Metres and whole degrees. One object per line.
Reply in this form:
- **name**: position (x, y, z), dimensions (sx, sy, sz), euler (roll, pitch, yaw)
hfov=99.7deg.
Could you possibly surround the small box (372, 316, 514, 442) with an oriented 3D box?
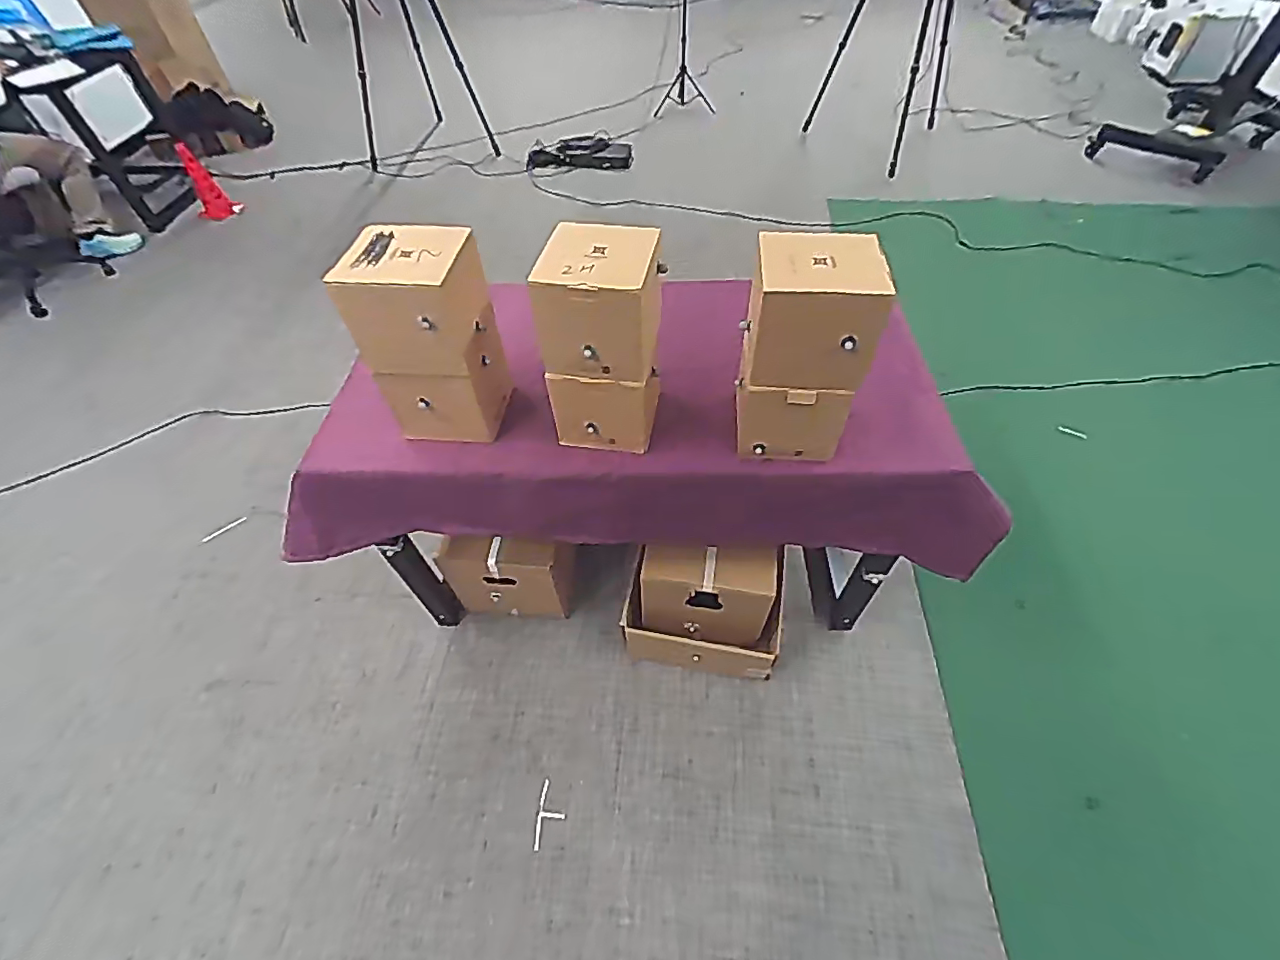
- **small box**: position (-0.353, -0.185, 1.005), dimensions (0.179, 0.176, 0.168), euler (2, 53, 5)

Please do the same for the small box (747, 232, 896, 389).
- **small box**: position (0.261, -0.255, 0.825), dimensions (0.179, 0.176, 0.168), euler (3, 51, 6)

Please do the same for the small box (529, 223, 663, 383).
- **small box**: position (-0.059, -0.281, 0.861), dimensions (0.168, 0.176, 0.179), euler (7, 53, 9)

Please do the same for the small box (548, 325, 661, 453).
- **small box**: position (-0.056, -0.174, 0.986), dimensions (0.168, 0.176, 0.179), euler (6, 54, 8)

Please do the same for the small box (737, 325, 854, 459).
- **small box**: position (0.263, -0.152, 0.953), dimensions (0.168, 0.176, 0.179), euler (3, 51, 5)
